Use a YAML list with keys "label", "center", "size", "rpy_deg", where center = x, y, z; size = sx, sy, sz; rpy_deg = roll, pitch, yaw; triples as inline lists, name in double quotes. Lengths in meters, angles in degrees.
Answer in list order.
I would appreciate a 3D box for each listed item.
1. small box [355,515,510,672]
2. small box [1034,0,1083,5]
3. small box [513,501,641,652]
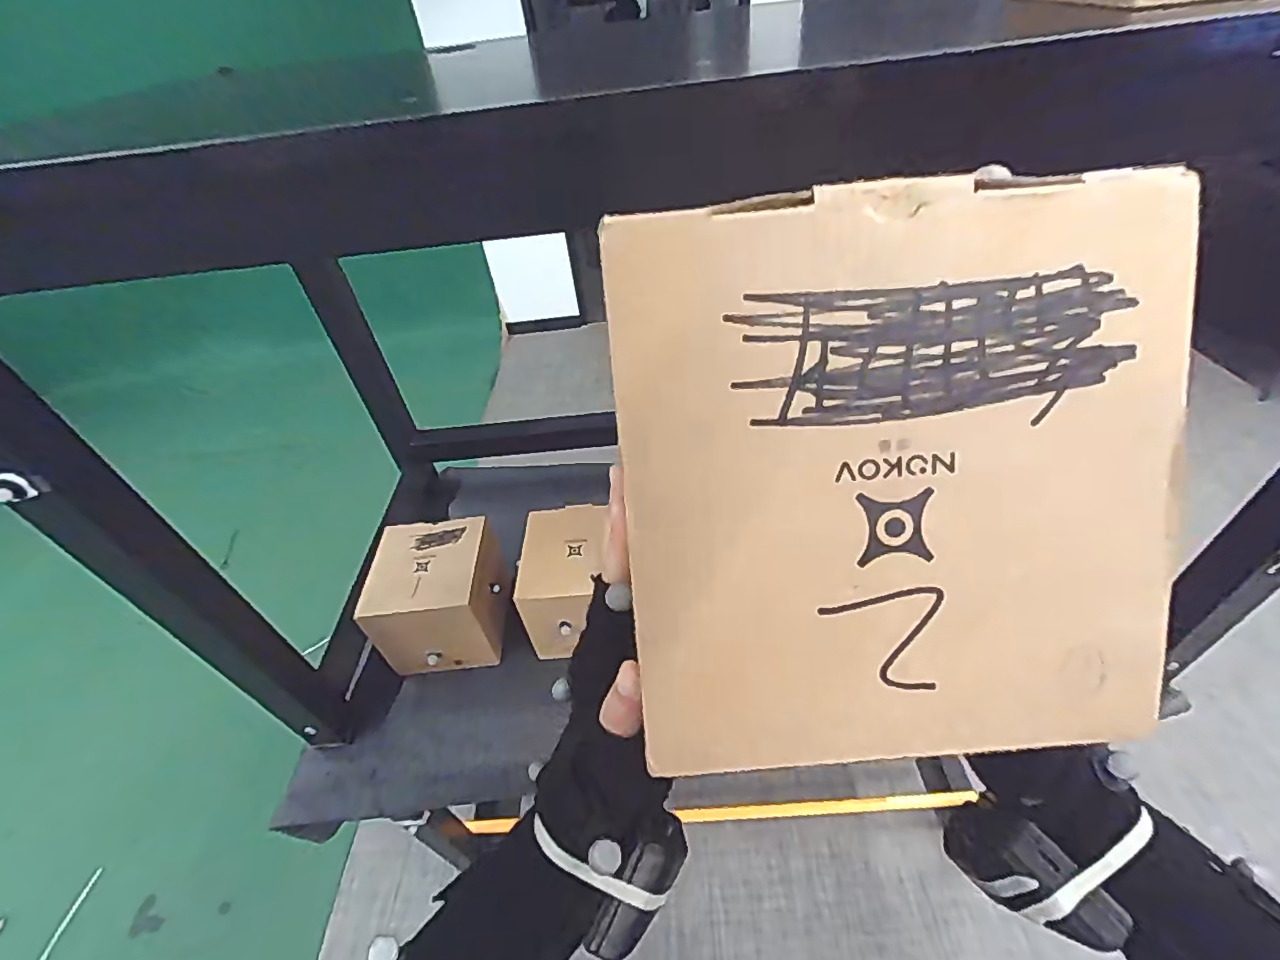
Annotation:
- label: "small box"
  center: [-0.315, 0.181, 0.865]
  size: [0.168, 0.176, 0.179]
  rpy_deg: [-7, 42, 1]
- label: "small box"
  center: [0.333, -0.368, 0.279]
  size: [0.168, 0.176, 0.179]
  rpy_deg: [1, 42, 9]
- label: "small box"
  center: [-0.089, 0.158, 0.860]
  size: [0.168, 0.176, 0.179]
  rpy_deg: [-5, 41, 3]
